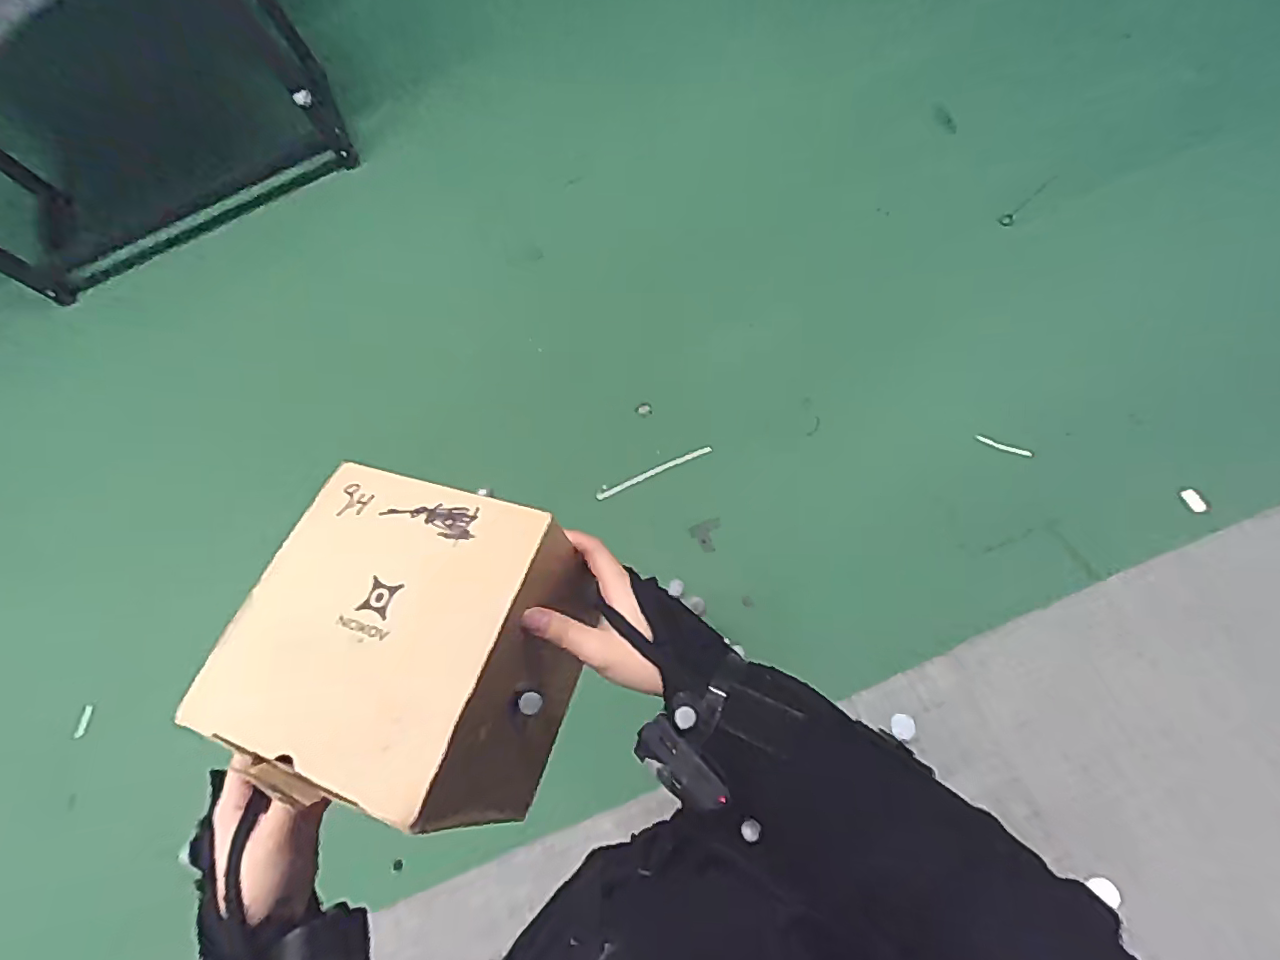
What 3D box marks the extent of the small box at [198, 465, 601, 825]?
[{"bbox_3d":[-0.141,0.117,0.392,0.168,0.176,0.179,13,64,16],"label":"small box"}]
